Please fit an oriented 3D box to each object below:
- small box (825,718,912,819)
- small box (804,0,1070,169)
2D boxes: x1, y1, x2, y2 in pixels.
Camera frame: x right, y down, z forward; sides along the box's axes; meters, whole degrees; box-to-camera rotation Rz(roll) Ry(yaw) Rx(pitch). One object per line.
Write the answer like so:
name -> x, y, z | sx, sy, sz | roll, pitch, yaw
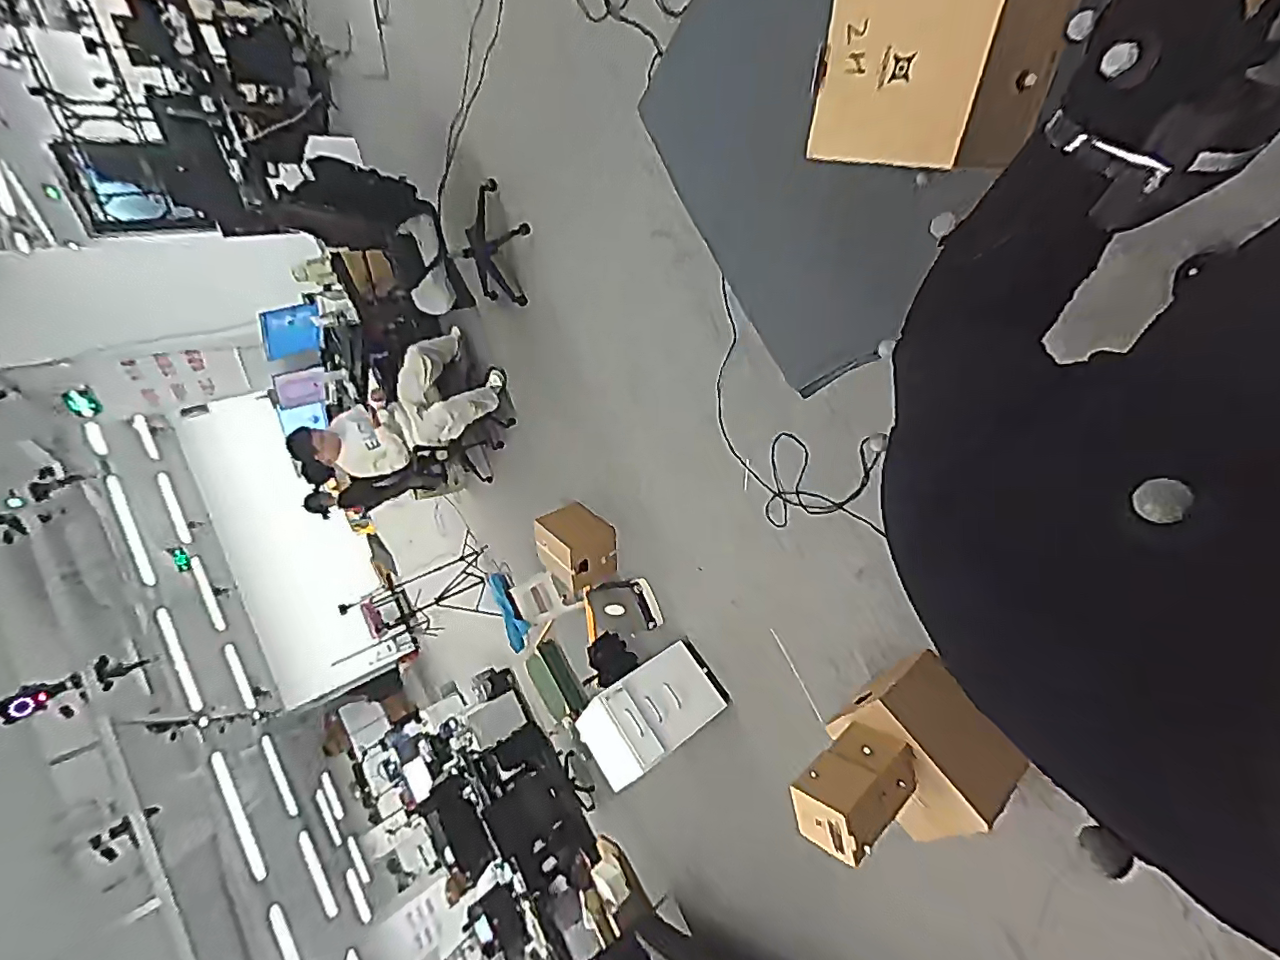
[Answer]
small box -> 0.680, 0.838, 1.593 | 0.179, 0.176, 0.168 | 0, 108, 52
small box -> 0.311, -0.435, 0.578 | 0.179, 0.176, 0.168 | 35, 134, 39
